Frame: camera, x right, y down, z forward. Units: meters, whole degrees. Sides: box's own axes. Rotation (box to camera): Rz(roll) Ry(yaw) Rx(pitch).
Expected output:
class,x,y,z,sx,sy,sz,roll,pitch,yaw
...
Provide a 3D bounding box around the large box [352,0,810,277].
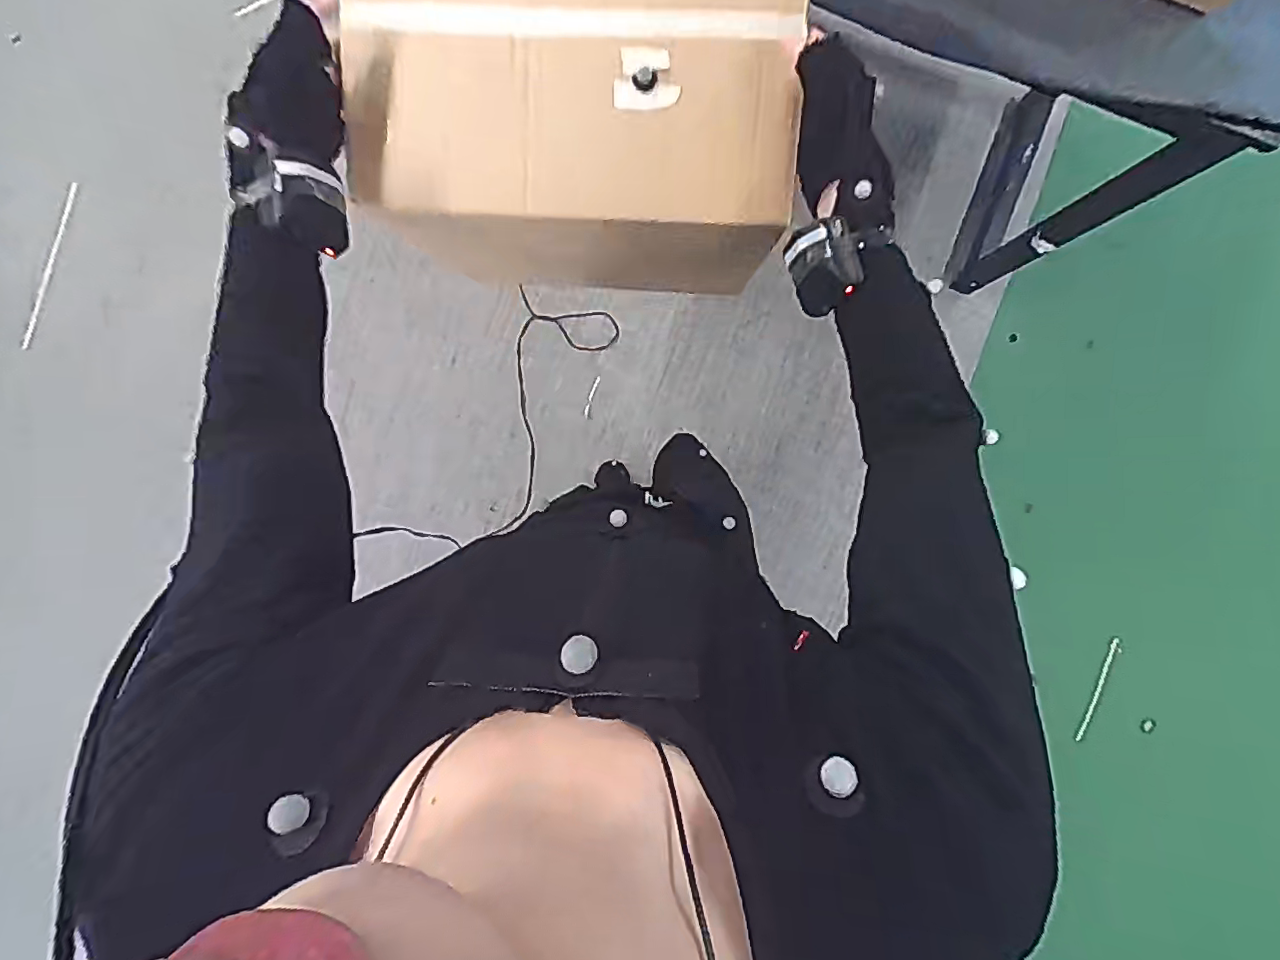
class,x,y,z,sx,sy,sz,roll,pitch,yaw
large box,-0.052,-0.429,0.614,0.408,0.320,0.320,3,99,0
